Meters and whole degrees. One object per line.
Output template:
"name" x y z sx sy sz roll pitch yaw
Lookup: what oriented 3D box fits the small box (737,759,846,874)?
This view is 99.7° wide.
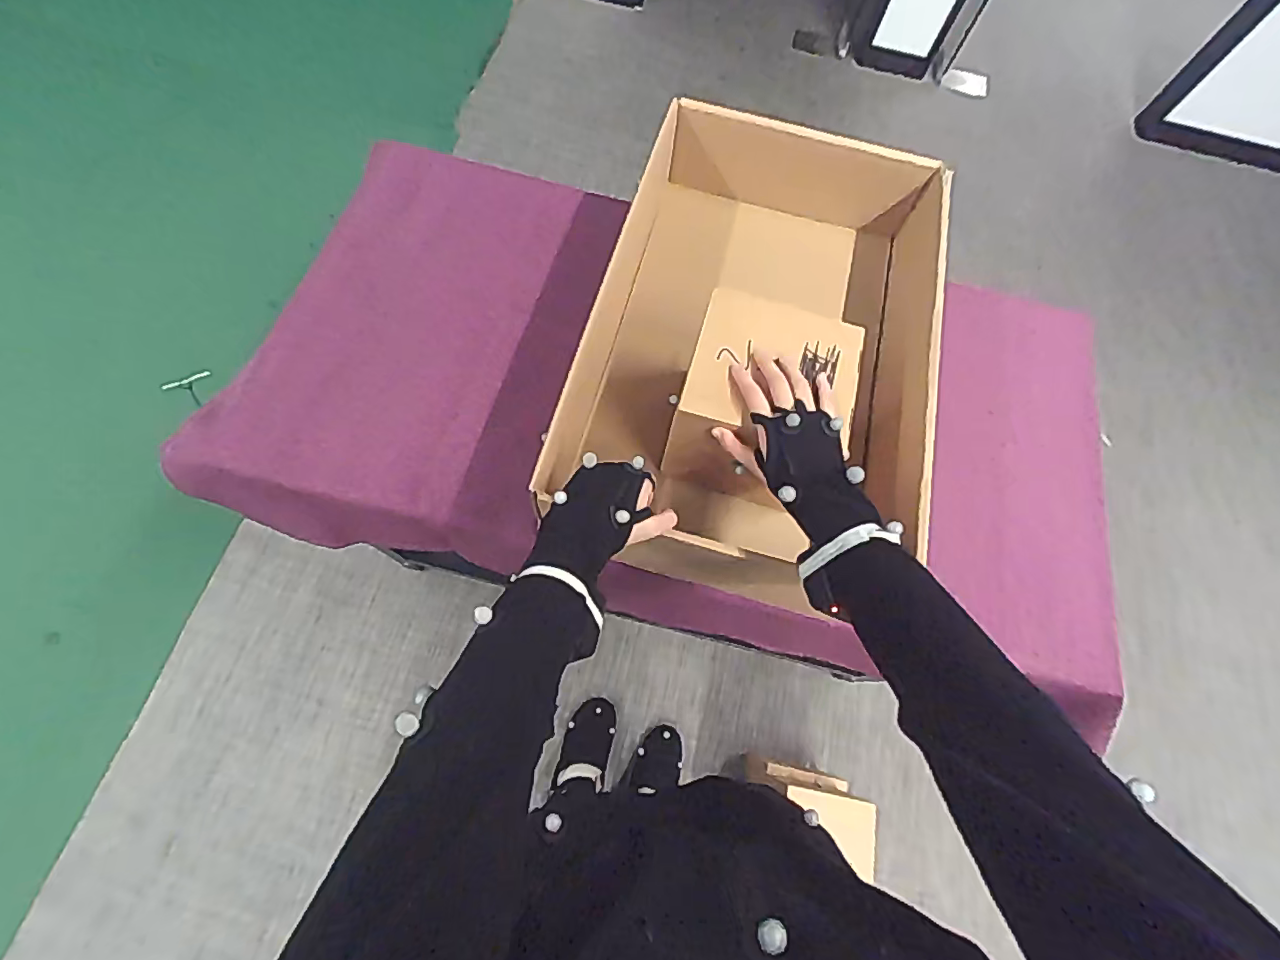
"small box" 0.326 0.725 1.185 0.179 0.176 0.168 13 68 1
